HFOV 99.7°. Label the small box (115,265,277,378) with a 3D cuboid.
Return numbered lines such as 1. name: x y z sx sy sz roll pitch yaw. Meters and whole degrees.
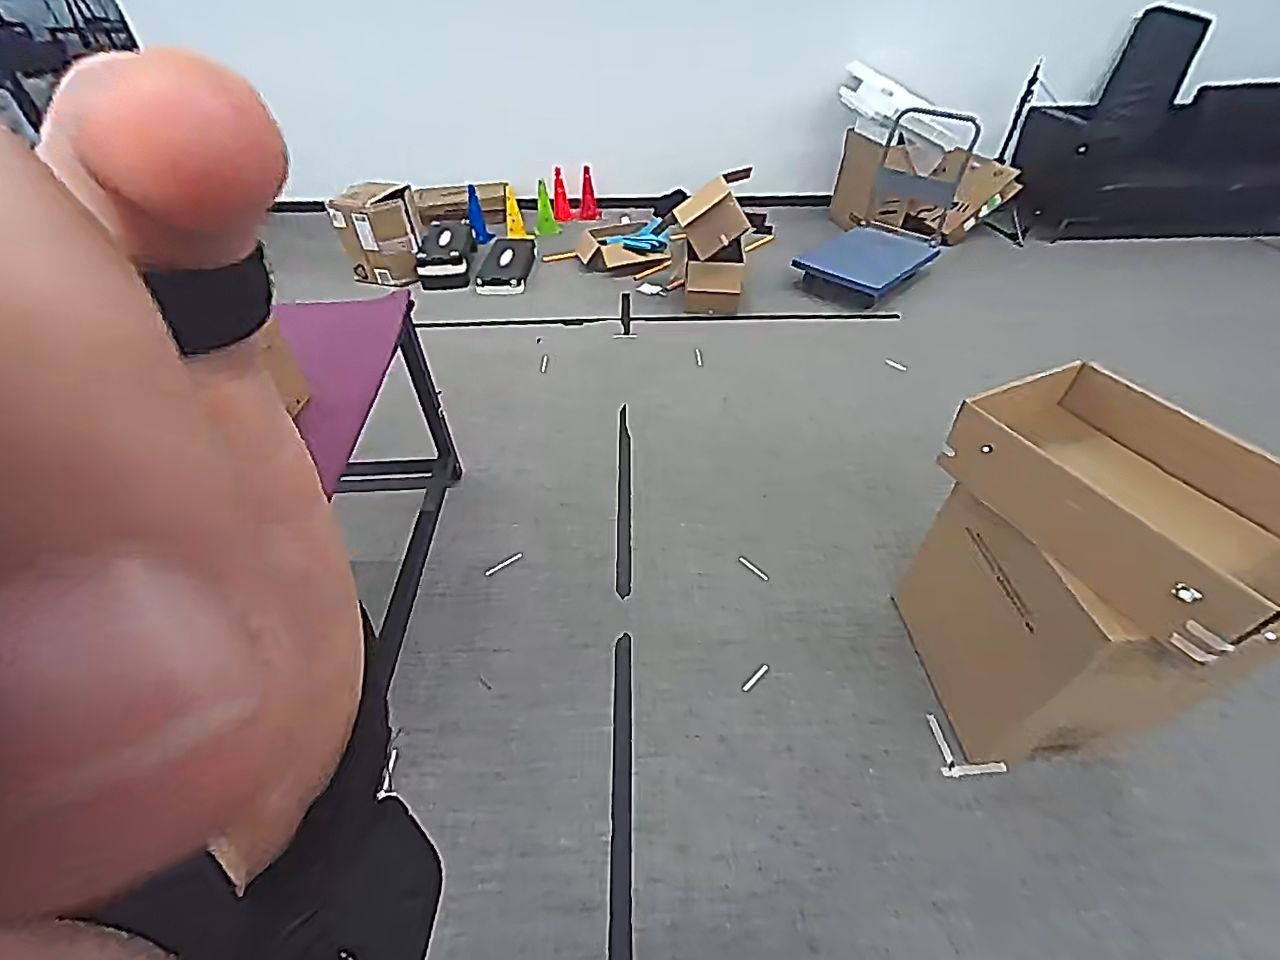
1. small box: -0.894 -0.328 1.116 0.168 0.176 0.179 -1 44 1
